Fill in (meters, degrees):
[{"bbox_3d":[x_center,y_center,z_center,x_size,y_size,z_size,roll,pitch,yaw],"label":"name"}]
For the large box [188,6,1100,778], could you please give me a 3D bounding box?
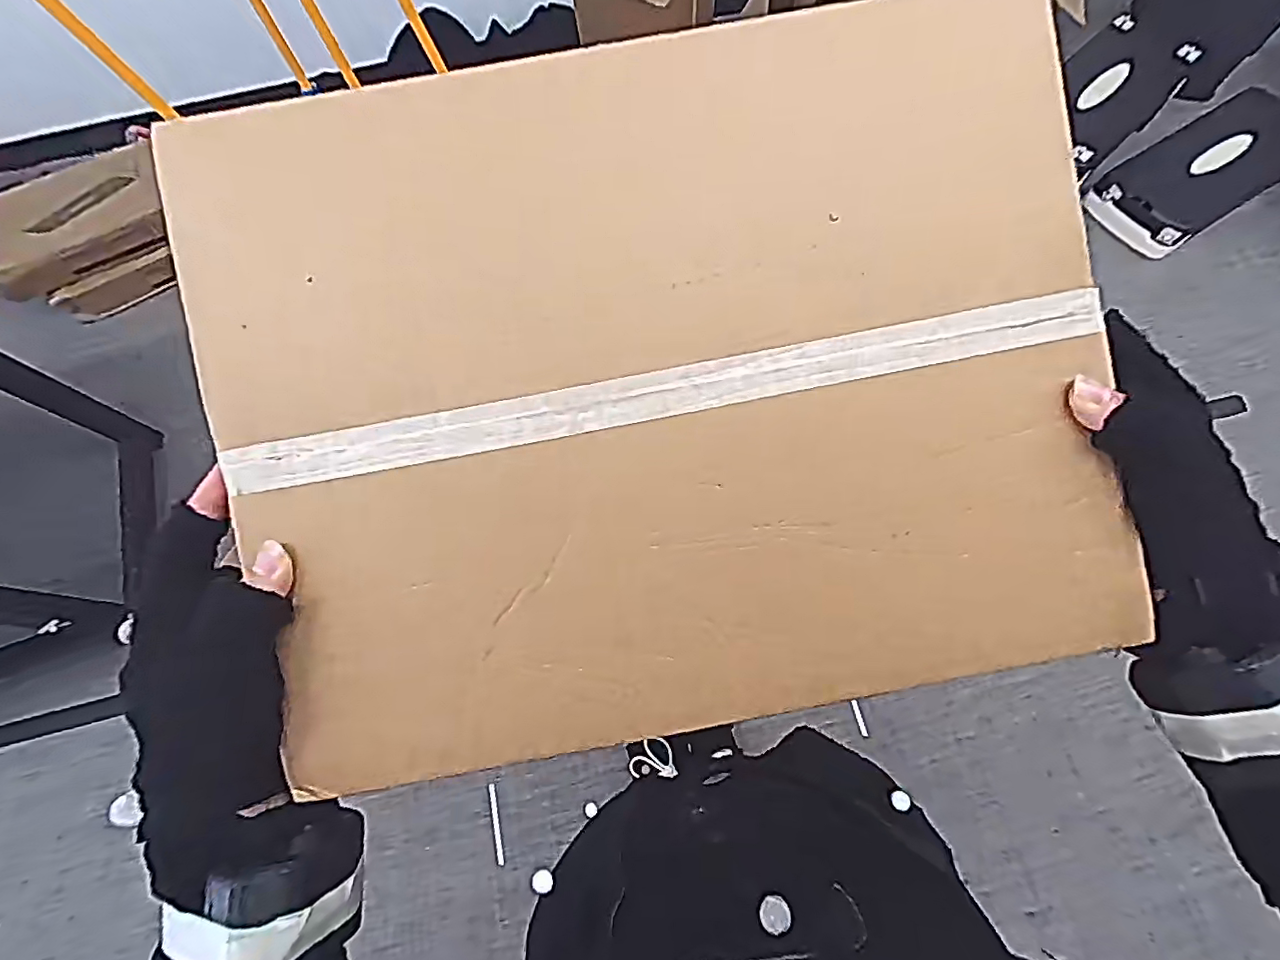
[{"bbox_3d":[0.007,-0.046,0.409,0.408,0.320,0.320,-10,91,-1],"label":"large box"}]
